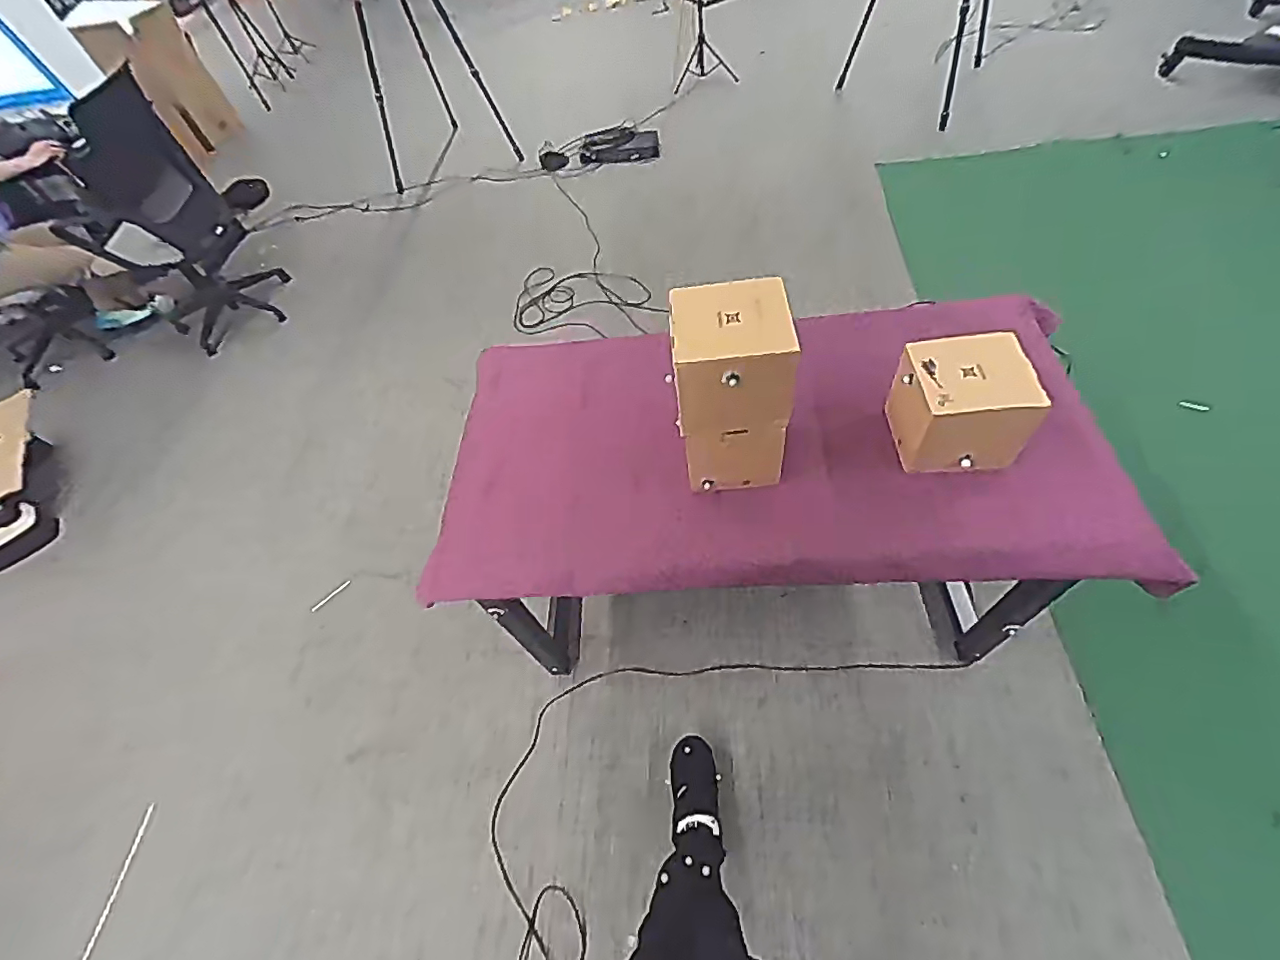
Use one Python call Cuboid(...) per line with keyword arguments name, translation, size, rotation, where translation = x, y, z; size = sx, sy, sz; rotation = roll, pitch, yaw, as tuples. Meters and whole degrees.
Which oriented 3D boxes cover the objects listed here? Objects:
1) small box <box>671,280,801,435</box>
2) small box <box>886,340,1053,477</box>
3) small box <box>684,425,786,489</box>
Cuboid(name="small box", translation=(0.145, -0.185, 0.849), size=(0.179, 0.176, 0.168), rotation=(-4, 56, 6))
Cuboid(name="small box", translation=(0.553, -0.119, 0.938), size=(0.179, 0.176, 0.168), rotation=(-3, 55, 7))
Cuboid(name="small box", translation=(0.166, -0.095, 0.983), size=(0.168, 0.176, 0.179), rotation=(-4, 54, 6))
